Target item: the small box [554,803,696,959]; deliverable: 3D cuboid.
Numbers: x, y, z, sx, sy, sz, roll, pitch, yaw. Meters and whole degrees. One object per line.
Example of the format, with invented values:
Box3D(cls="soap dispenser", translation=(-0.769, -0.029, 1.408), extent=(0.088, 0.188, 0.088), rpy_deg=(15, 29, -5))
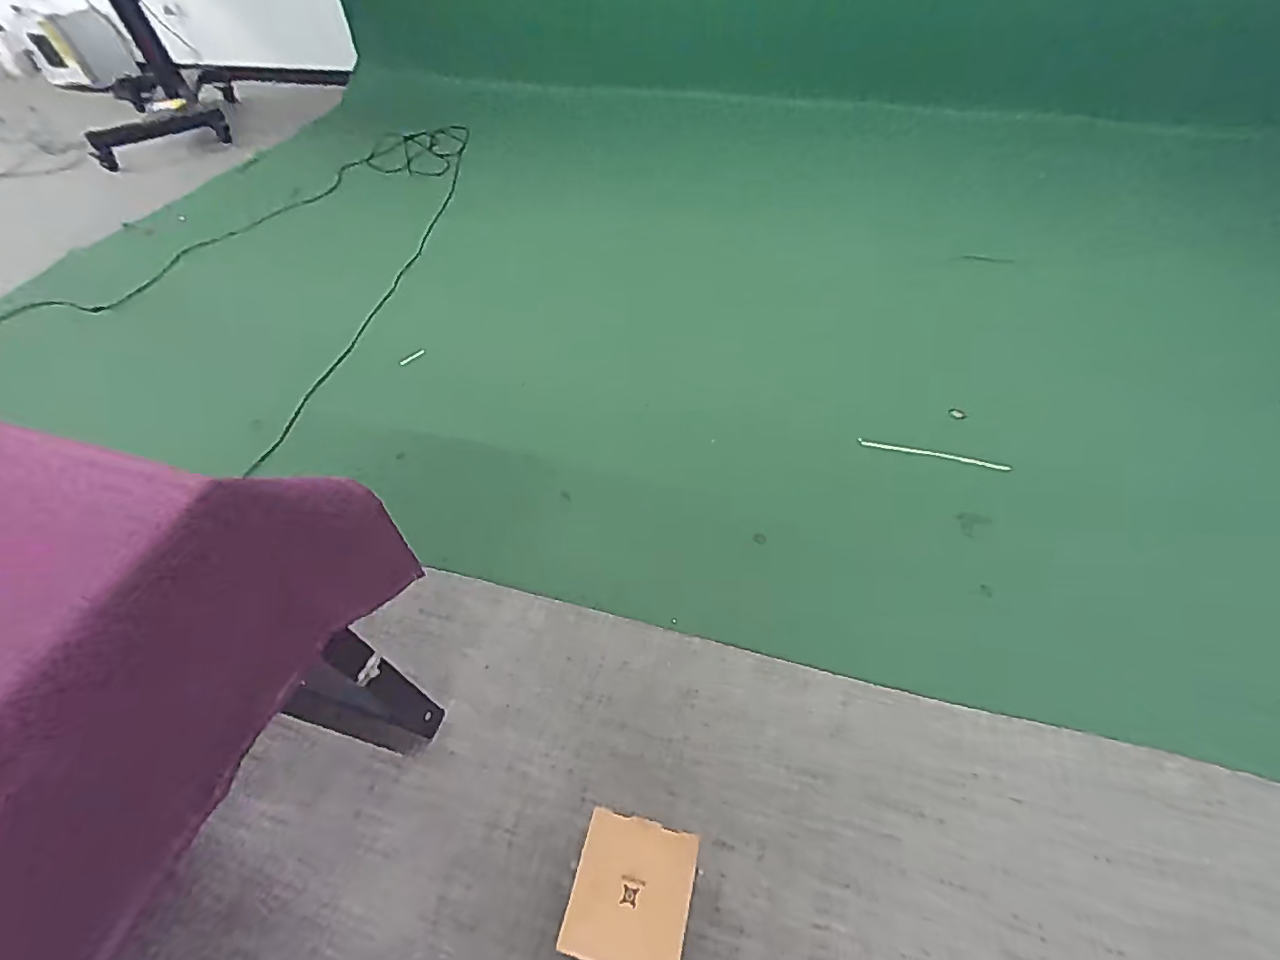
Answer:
Box3D(cls="small box", translation=(-0.013, 0.622, 0.823), extent=(0.168, 0.176, 0.179), rpy_deg=(11, 53, 10))
